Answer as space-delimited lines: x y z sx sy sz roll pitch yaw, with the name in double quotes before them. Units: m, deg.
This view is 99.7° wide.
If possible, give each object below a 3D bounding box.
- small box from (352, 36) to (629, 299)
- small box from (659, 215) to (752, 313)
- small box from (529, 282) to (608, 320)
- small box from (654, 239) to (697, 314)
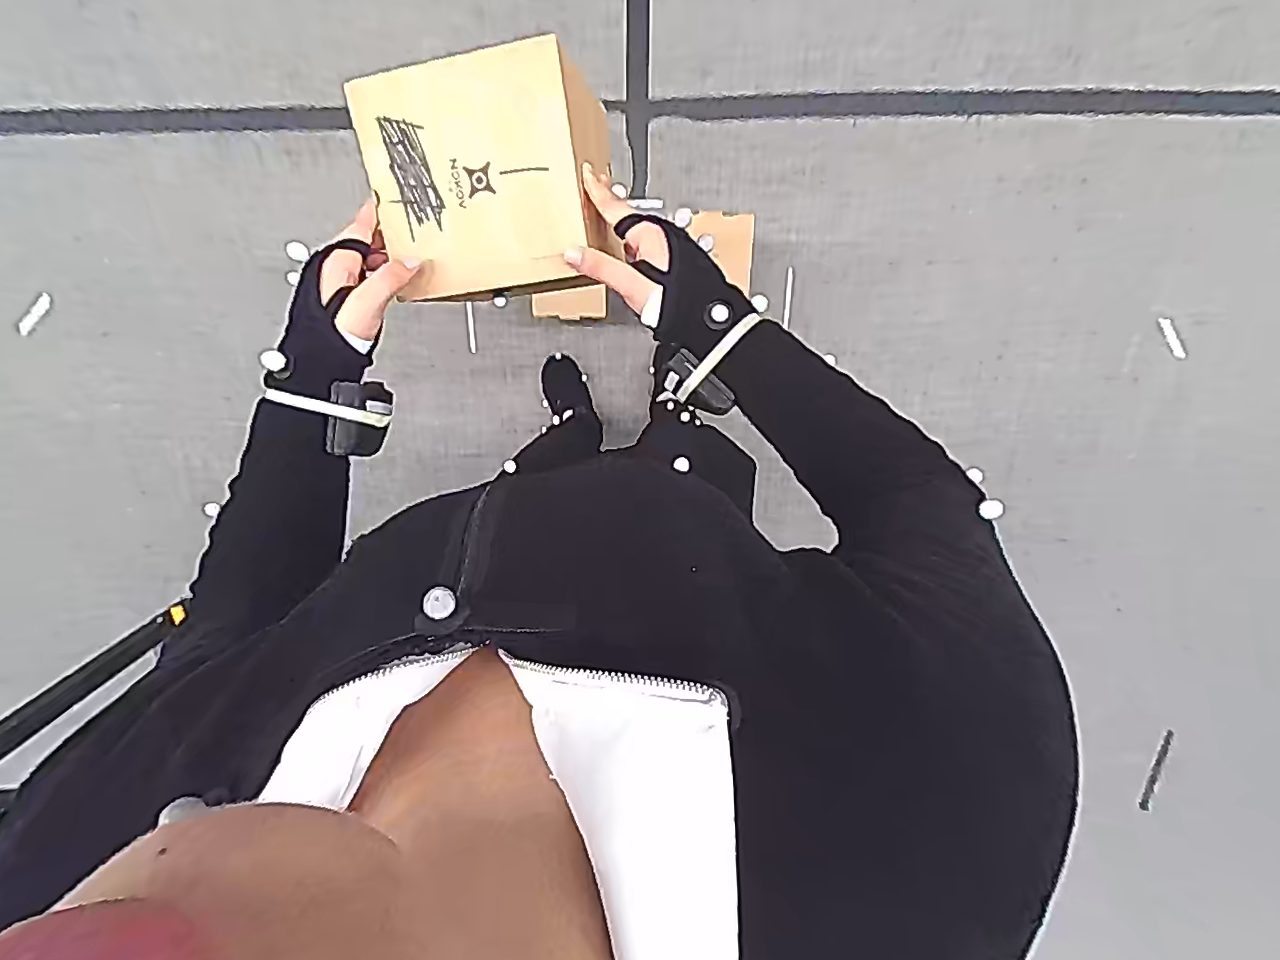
"small box" -0.118 -0.261 0.500 0.179 0.176 0.168 -4 109 10
"small box" 0.125 -0.439 1.112 0.168 0.176 0.179 0 111 -1
"small box" -0.162 -0.475 1.264 0.168 0.176 0.179 2 110 -1
"small box" 0.126 -0.481 1.269 0.179 0.176 0.168 -2 109 -1
